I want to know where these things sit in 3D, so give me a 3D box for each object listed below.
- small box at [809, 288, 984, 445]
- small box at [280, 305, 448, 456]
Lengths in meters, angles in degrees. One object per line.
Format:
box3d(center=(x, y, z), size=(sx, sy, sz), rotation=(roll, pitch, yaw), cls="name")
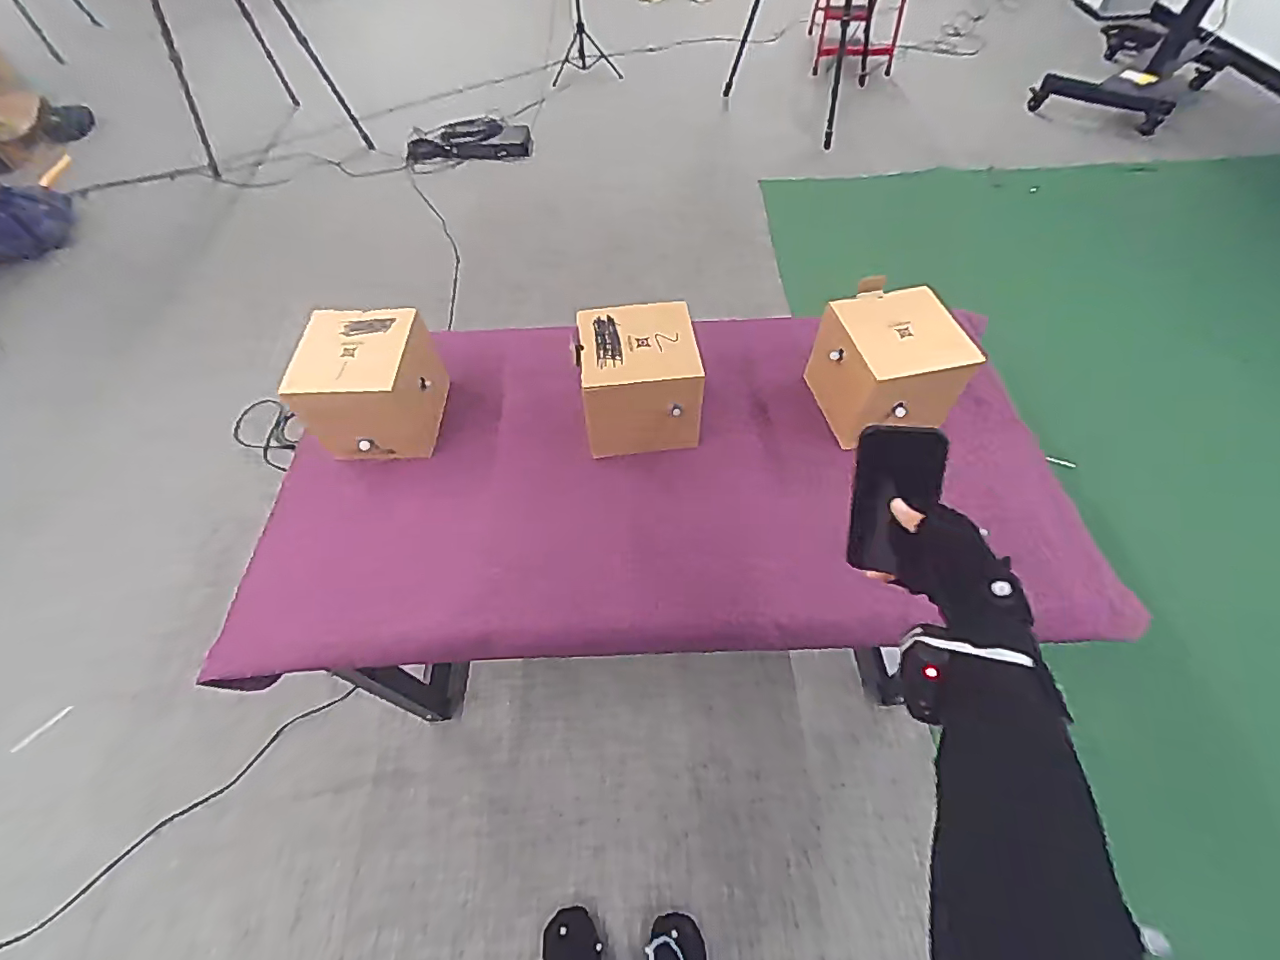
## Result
box3d(center=(0.391, -0.172, 0.860), size=(0.168, 0.176, 0.179), rotation=(-11, 56, -5), cls="small box")
box3d(center=(-0.423, -0.158, 0.868), size=(0.168, 0.176, 0.179), rotation=(-1, 58, 1), cls="small box")
